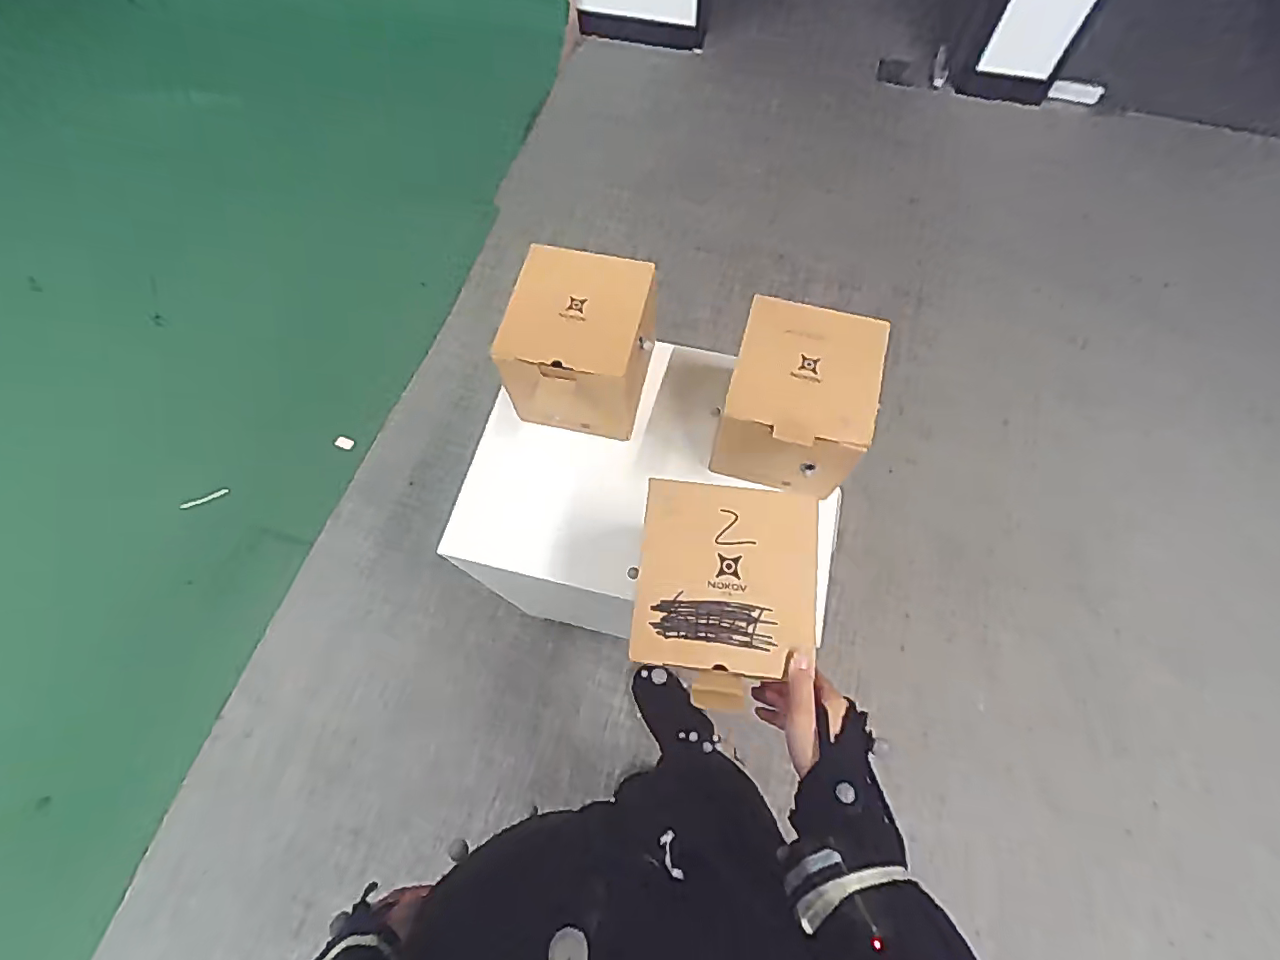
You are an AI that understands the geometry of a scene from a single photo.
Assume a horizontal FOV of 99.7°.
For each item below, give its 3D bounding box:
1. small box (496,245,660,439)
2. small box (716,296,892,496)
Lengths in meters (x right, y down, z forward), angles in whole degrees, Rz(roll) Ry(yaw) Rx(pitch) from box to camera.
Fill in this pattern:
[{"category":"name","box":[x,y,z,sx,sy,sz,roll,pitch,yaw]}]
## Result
[{"category":"small box","box":[-0.073,-0.179,0.734,0.168,0.176,0.179,12,70,6]},{"category":"small box","box":[0.198,-0.098,0.693,0.168,0.176,0.179,15,69,7]}]
